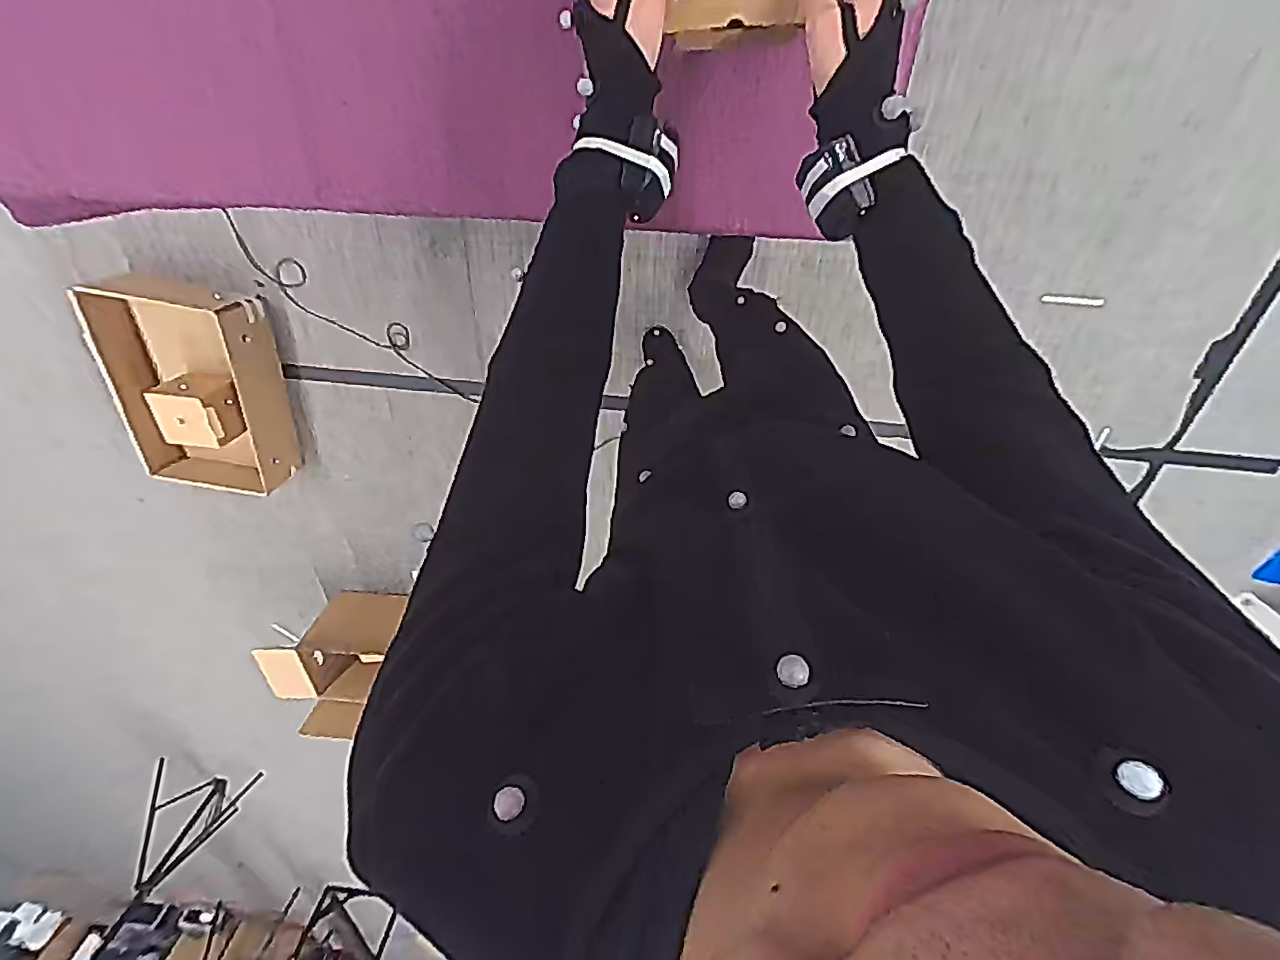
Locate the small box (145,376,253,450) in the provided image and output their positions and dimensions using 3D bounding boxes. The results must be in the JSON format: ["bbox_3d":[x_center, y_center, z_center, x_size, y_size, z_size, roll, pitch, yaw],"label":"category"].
[{"bbox_3d":[-1.328,-0.208,1.650,0.179,0.176,0.168,6,122,2],"label":"small box"}]
